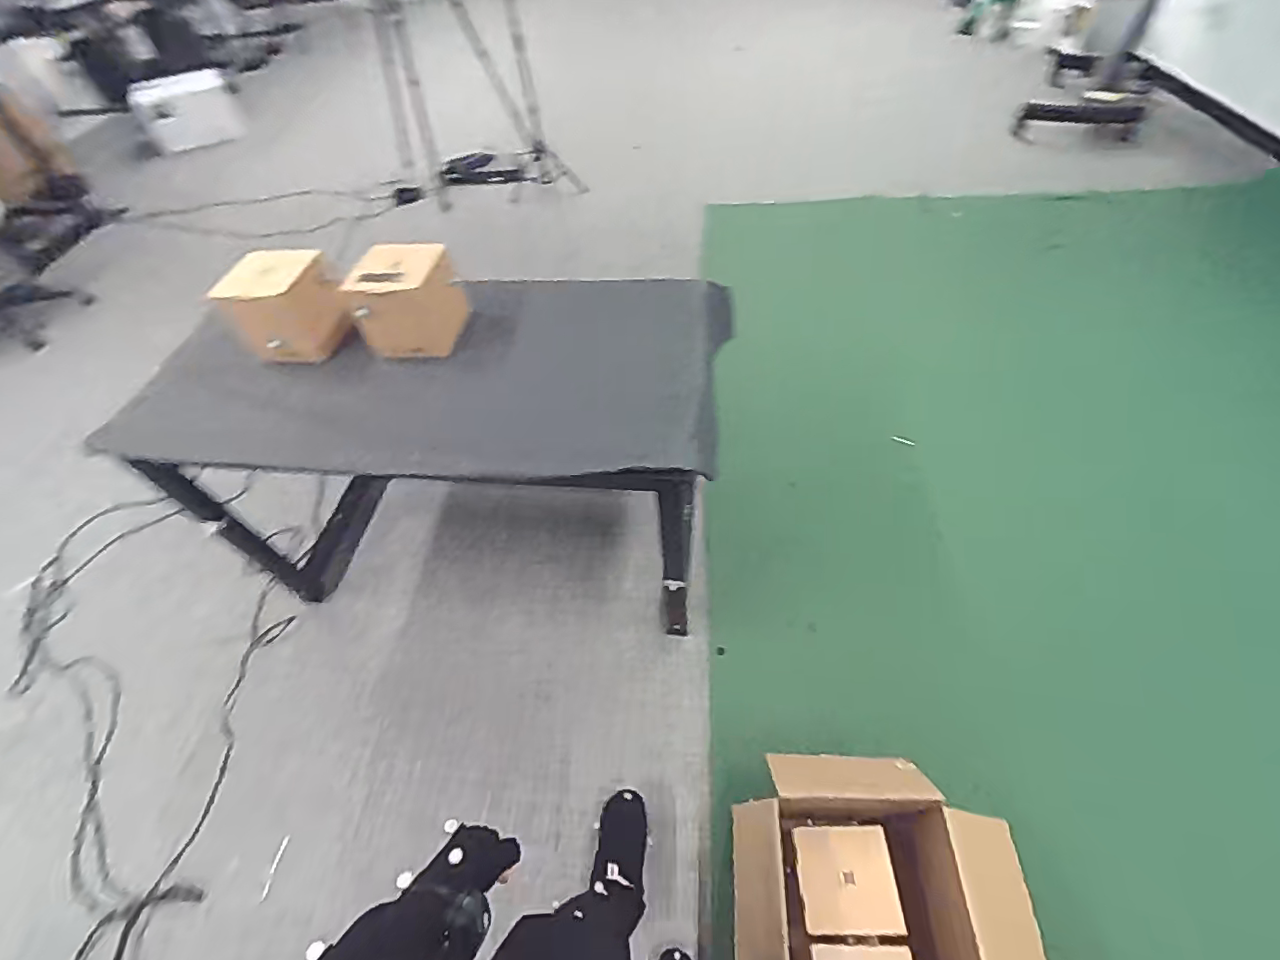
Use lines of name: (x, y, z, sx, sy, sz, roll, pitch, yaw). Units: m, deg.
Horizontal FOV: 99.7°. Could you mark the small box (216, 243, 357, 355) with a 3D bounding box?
small box: (-0.761, -0.400, 1.192, 0.168, 0.176, 0.179, 3, 53, 7)
